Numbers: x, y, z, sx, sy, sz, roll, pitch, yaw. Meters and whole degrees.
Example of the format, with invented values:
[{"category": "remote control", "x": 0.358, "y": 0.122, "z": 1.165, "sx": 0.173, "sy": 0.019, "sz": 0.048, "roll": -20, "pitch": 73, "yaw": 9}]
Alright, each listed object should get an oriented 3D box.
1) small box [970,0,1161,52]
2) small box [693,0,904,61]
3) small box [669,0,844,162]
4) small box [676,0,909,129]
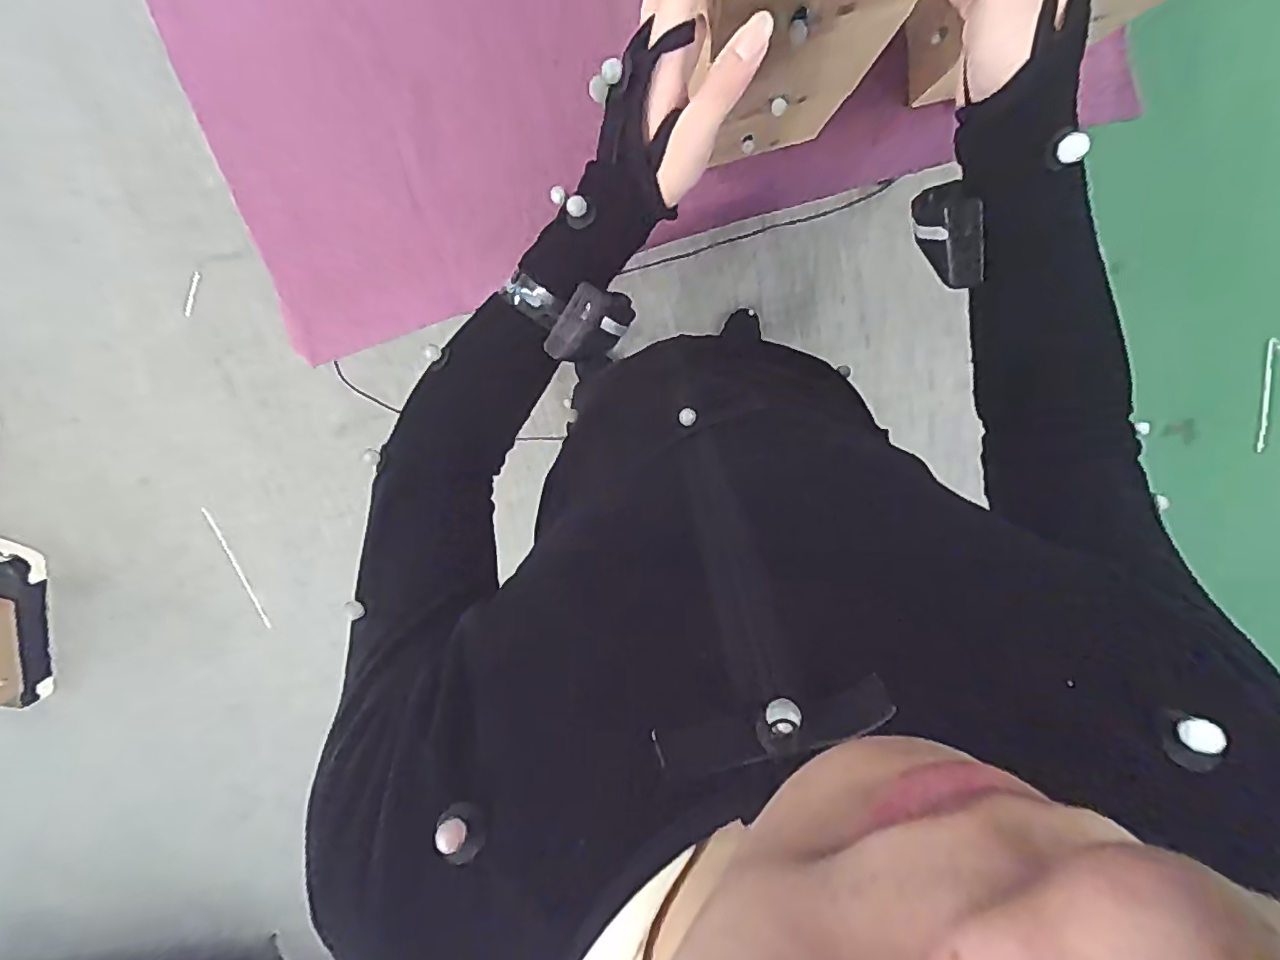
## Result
[{"category": "small box", "x": 0.393, "y": -0.503, "z": 0.441, "sx": 0.168, "sy": 0.176, "sz": 0.179, "roll": -8, "pitch": 106, "yaw": 9}, {"category": "small box", "x": 0.104, "y": -0.408, "z": 0.327, "sx": 0.168, "sy": 0.176, "sz": 0.179, "roll": -11, "pitch": 106, "yaw": 10}, {"category": "small box", "x": 0.131, "y": -0.501, "z": 0.640, "sx": 0.168, "sy": 0.176, "sz": 0.179, "roll": -11, "pitch": 105, "yaw": 9}, {"category": "small box", "x": 0.118, "y": -0.454, "z": 0.483, "sx": 0.168, "sy": 0.176, "sz": 0.179, "roll": -11, "pitch": 106, "yaw": 9}]
